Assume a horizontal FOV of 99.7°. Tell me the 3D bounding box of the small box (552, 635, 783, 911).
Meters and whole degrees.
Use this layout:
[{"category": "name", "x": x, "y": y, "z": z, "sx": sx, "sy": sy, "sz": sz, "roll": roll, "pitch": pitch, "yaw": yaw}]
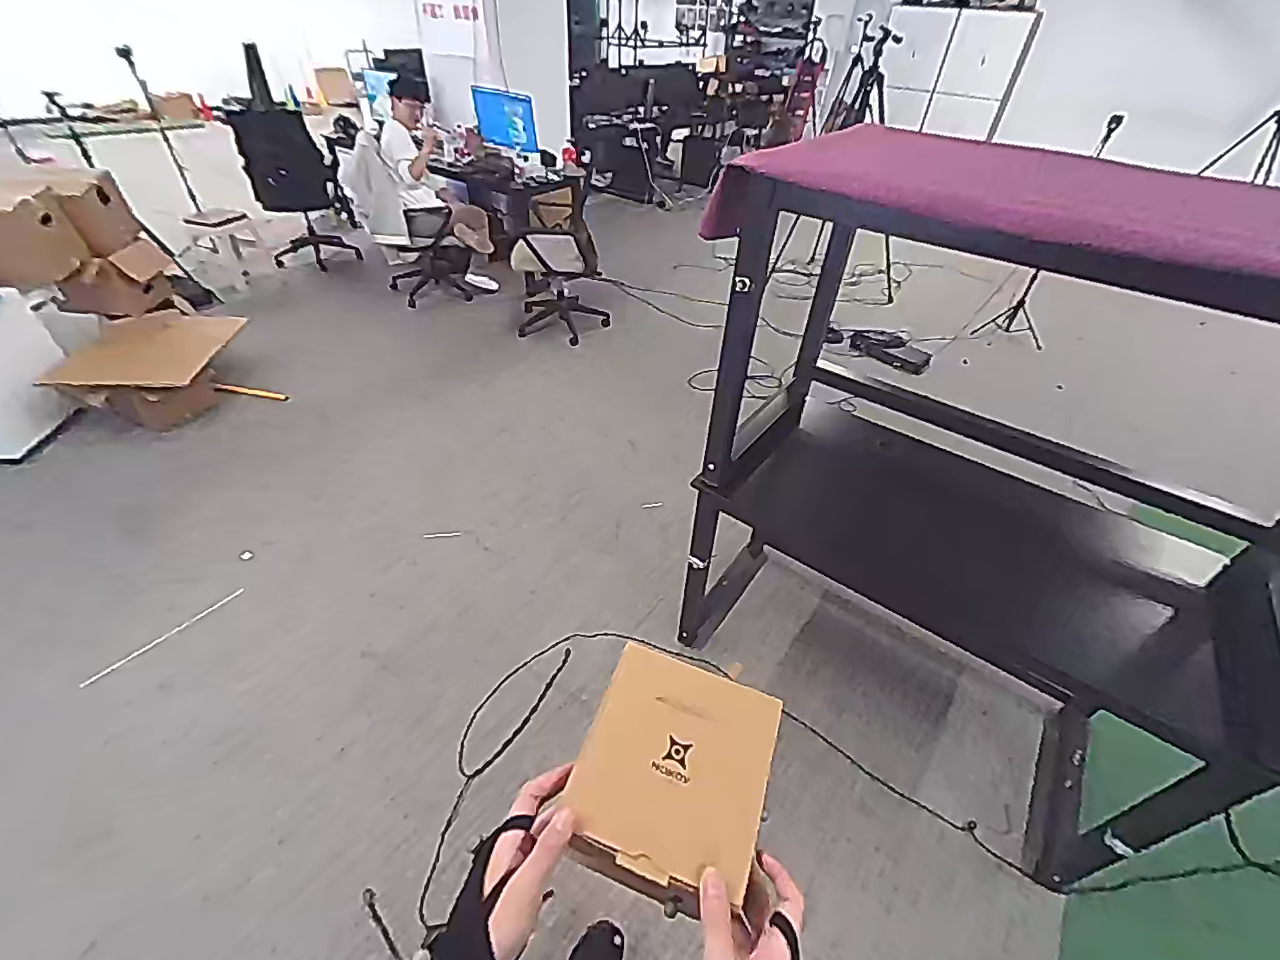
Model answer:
[{"category": "small box", "x": 0.028, "y": 0.296, "z": 0.543, "sx": 0.168, "sy": 0.176, "sz": 0.179, "roll": 19, "pitch": 48, "yaw": 11}]
